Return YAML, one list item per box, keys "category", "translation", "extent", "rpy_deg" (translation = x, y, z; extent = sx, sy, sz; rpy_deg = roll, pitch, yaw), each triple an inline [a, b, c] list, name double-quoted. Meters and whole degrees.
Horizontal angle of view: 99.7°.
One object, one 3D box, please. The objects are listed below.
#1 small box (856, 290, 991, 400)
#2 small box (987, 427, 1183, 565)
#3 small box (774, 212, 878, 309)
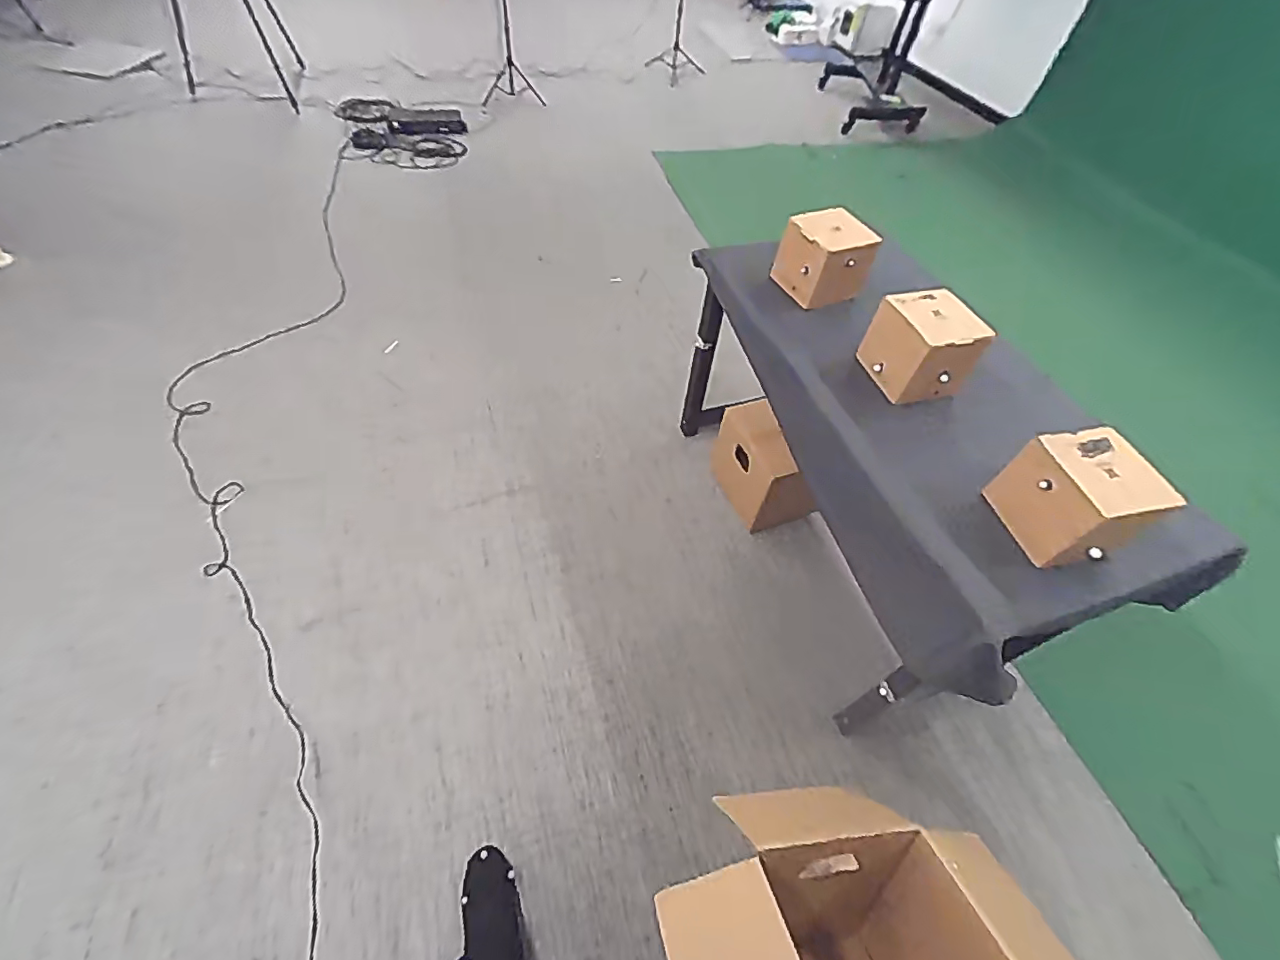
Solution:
- category: "small box"
  translation: [0.622, -0.295, 1.211]
  extent: [0.168, 0.176, 0.179]
  rpy_deg: [-11, 55, -13]
- category: "small box"
  translation: [0.777, 0.029, 0.971]
  extent: [0.168, 0.176, 0.179]
  rpy_deg: [-8, 54, -11]
- category: "small box"
  translation: [0.470, -0.568, 1.409]
  extent: [0.179, 0.176, 0.168]
  rpy_deg: [-19, 58, -21]
